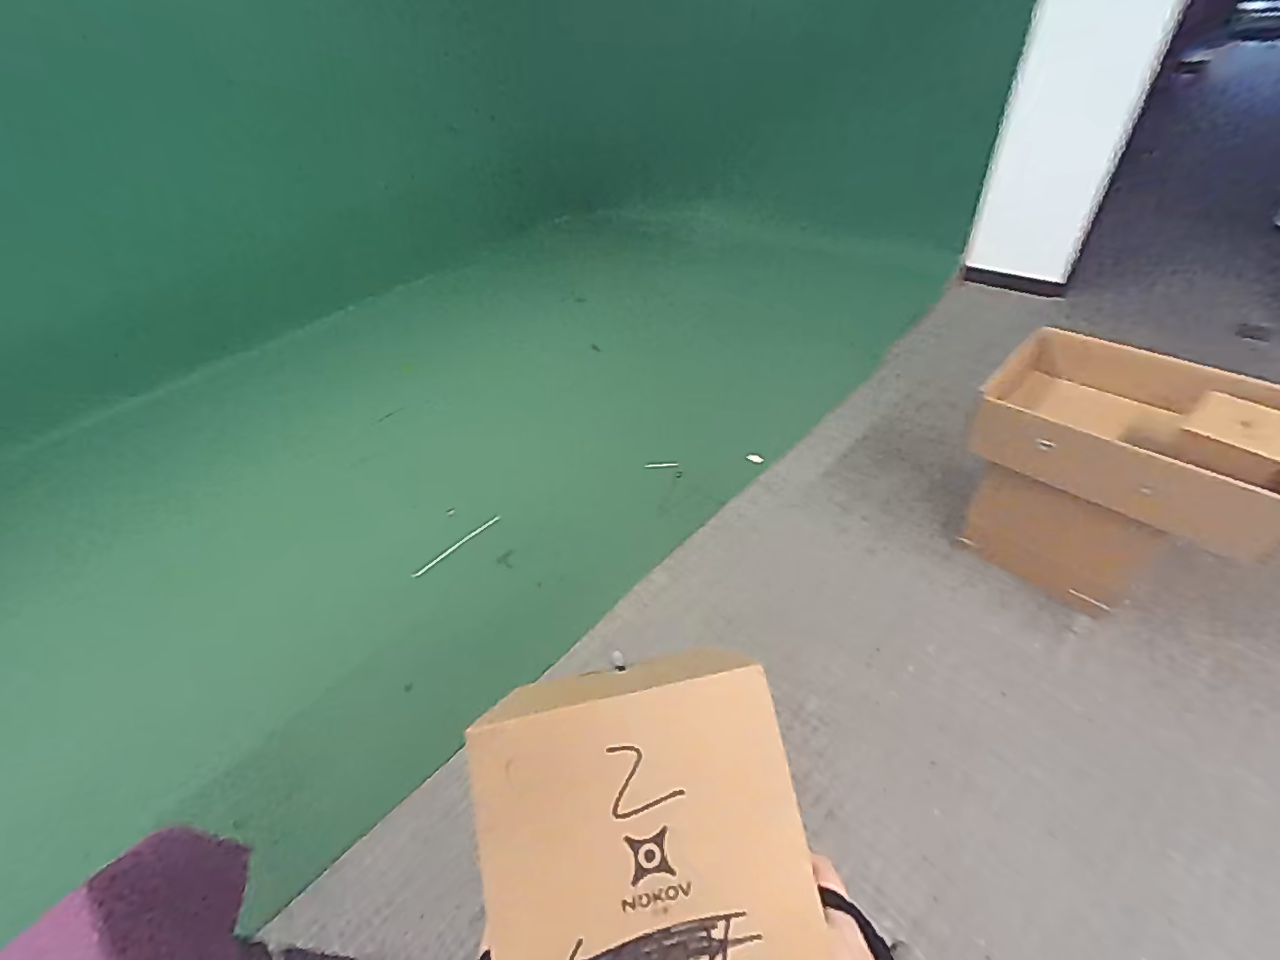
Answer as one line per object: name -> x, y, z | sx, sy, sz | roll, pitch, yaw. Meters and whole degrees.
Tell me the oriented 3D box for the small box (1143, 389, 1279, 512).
small box -> 1.259, -0.065, 1.177 | 0.179, 0.176, 0.168 | -32, 47, -22
